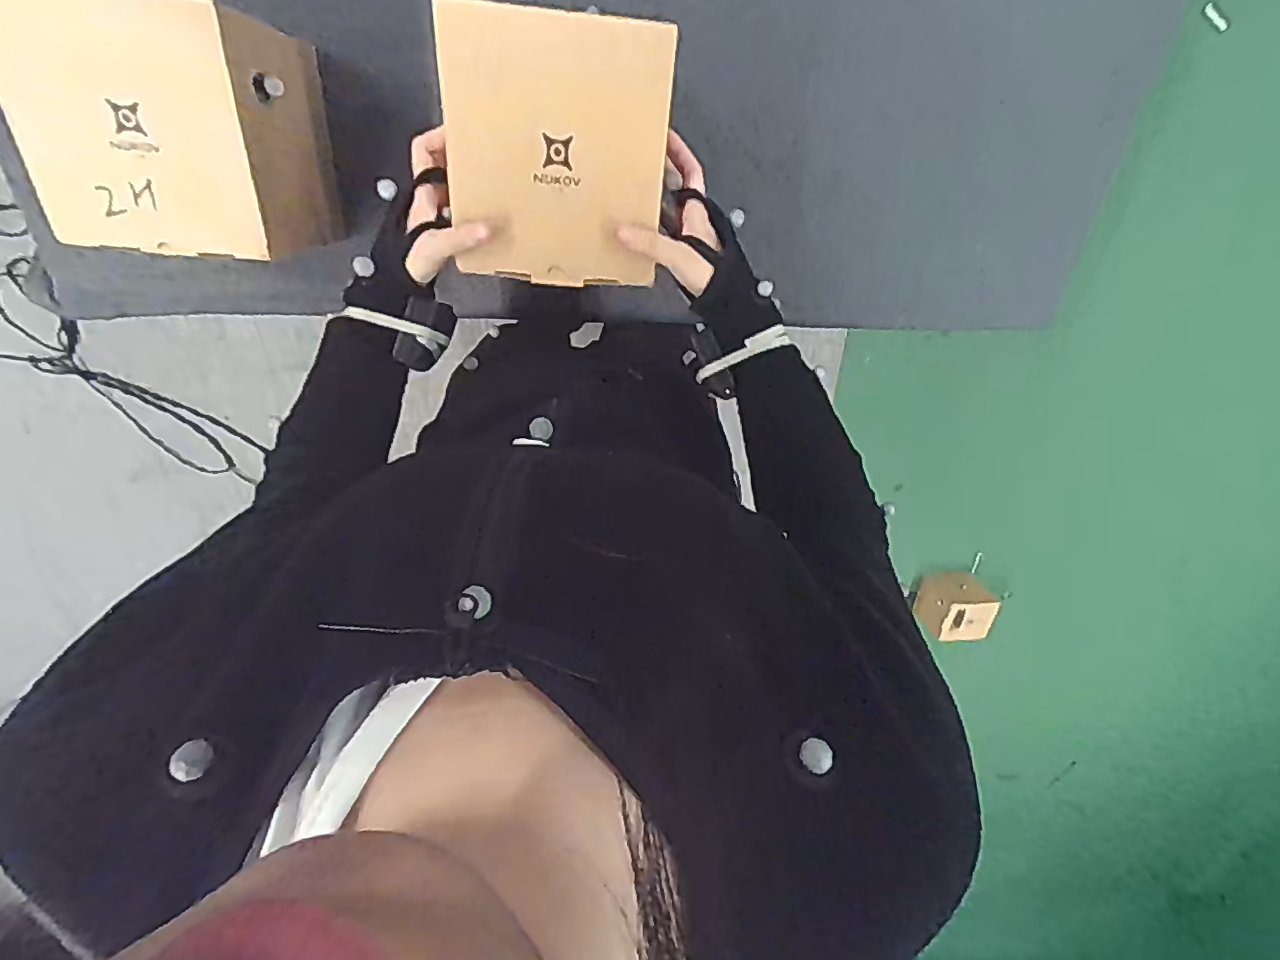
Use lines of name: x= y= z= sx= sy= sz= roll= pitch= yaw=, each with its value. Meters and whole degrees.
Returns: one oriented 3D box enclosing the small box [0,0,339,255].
small box: x=-0.386 y=-0.303 z=0.465 sx=0.168 sy=0.176 sz=0.179 roll=2 pitch=119 yaw=-8
